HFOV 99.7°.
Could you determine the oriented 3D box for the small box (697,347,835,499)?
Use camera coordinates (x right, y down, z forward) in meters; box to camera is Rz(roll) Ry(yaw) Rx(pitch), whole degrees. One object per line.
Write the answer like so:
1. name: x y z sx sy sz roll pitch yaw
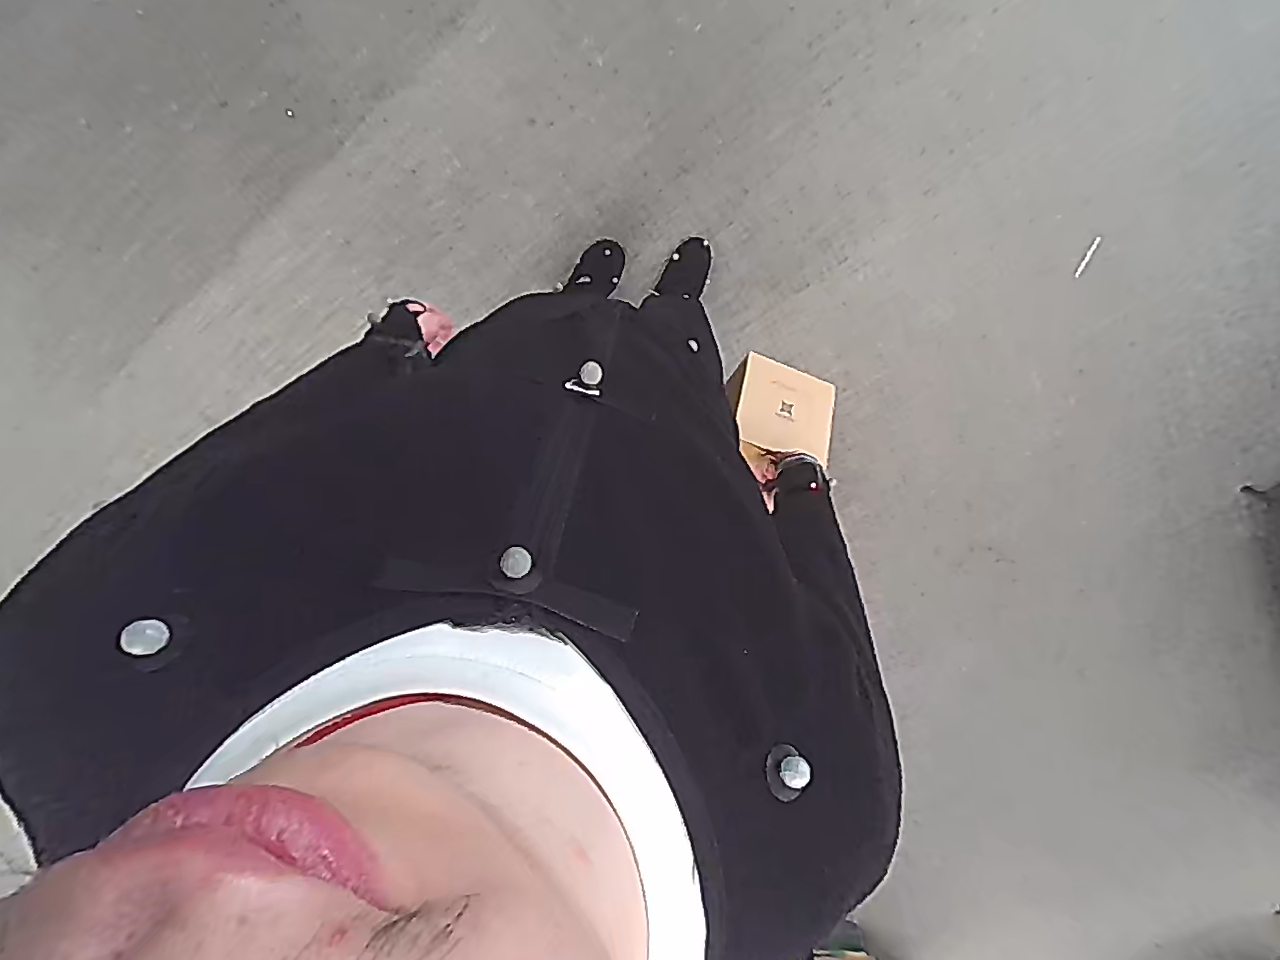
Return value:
1. small box: 0.210 -0.088 0.933 0.168 0.179 0.176 20 153 -8
